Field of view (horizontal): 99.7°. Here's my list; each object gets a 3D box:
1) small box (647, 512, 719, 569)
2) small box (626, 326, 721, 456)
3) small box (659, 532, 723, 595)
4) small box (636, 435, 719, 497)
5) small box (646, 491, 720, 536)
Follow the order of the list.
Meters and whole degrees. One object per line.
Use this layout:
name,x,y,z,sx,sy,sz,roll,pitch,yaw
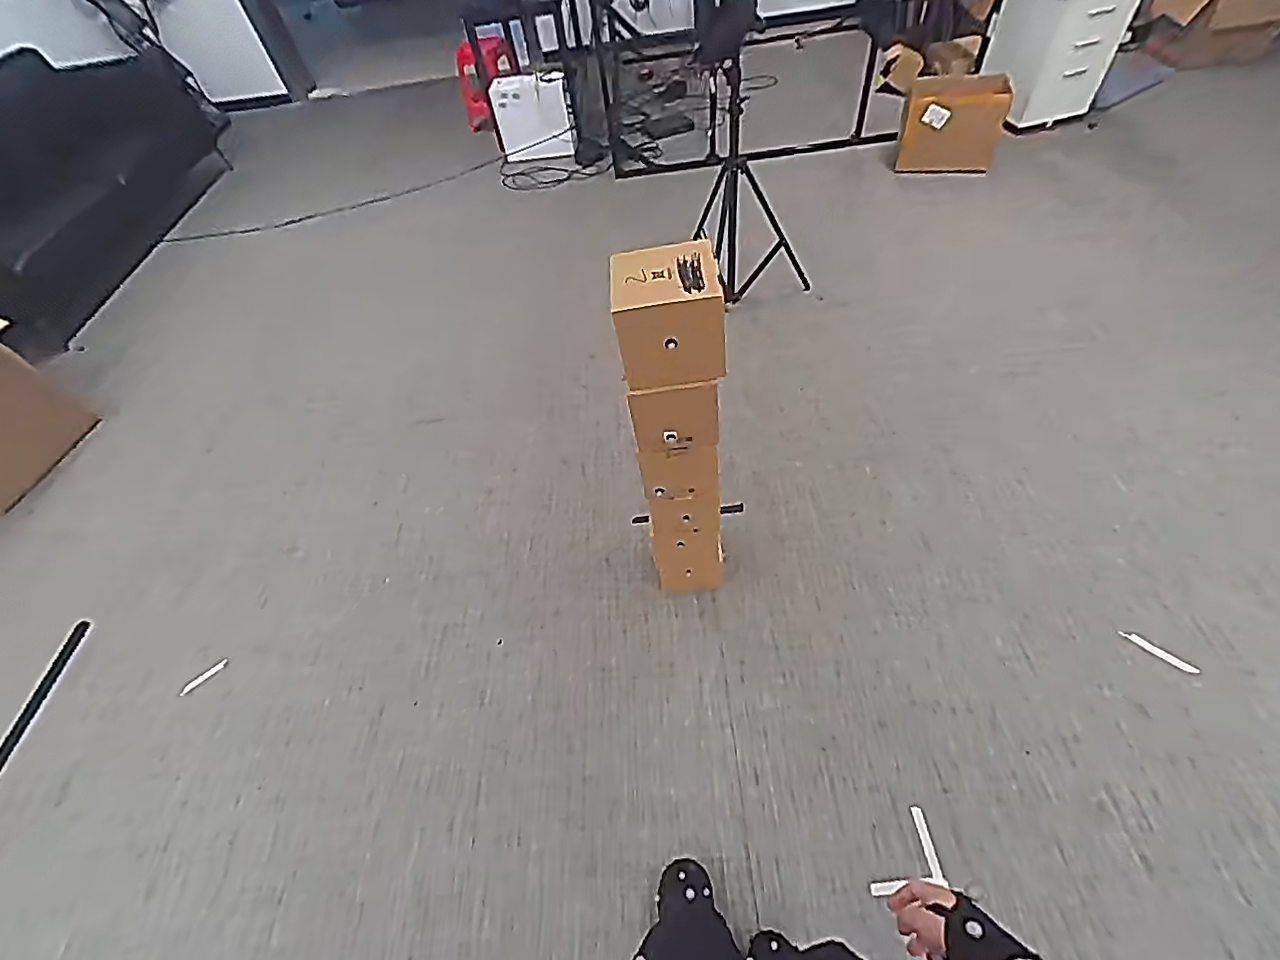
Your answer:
small box,0.116,0.127,1.444,0.179,0.176,0.168,-4,54,6
small box,0.066,-0.171,1.059,0.168,0.176,0.179,-7,53,5
small box,0.143,0.223,1.575,0.179,0.176,0.168,-6,53,4
small box,0.083,-0.074,1.187,0.168,0.176,0.179,-5,52,5
small box,0.106,0.026,1.316,0.168,0.176,0.179,-4,53,5
